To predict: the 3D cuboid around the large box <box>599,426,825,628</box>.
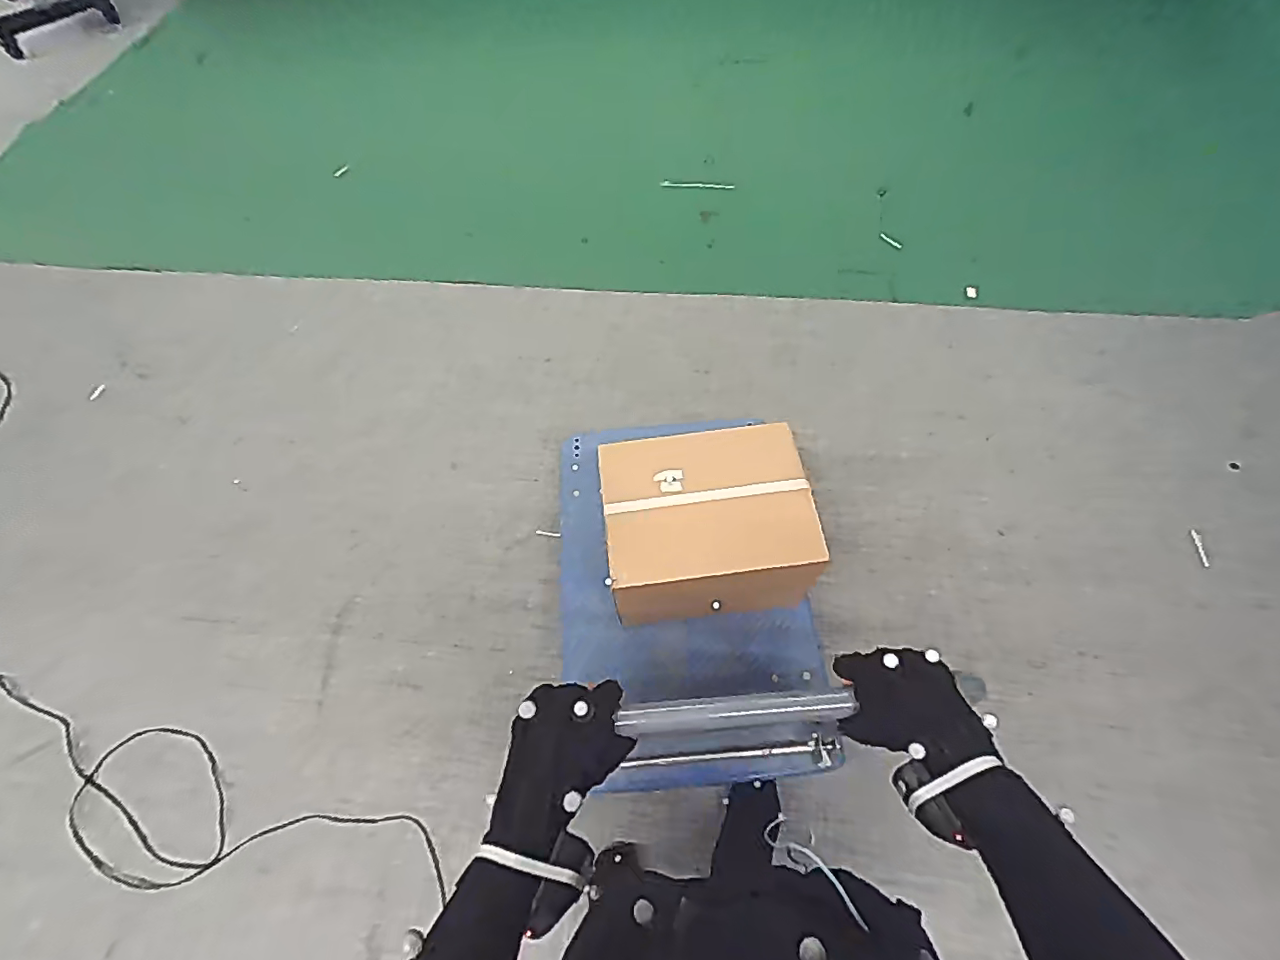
[{"bbox_3d":[0.140,0.117,1.205,0.408,0.320,0.320,-9,61,-1],"label":"large box"}]
